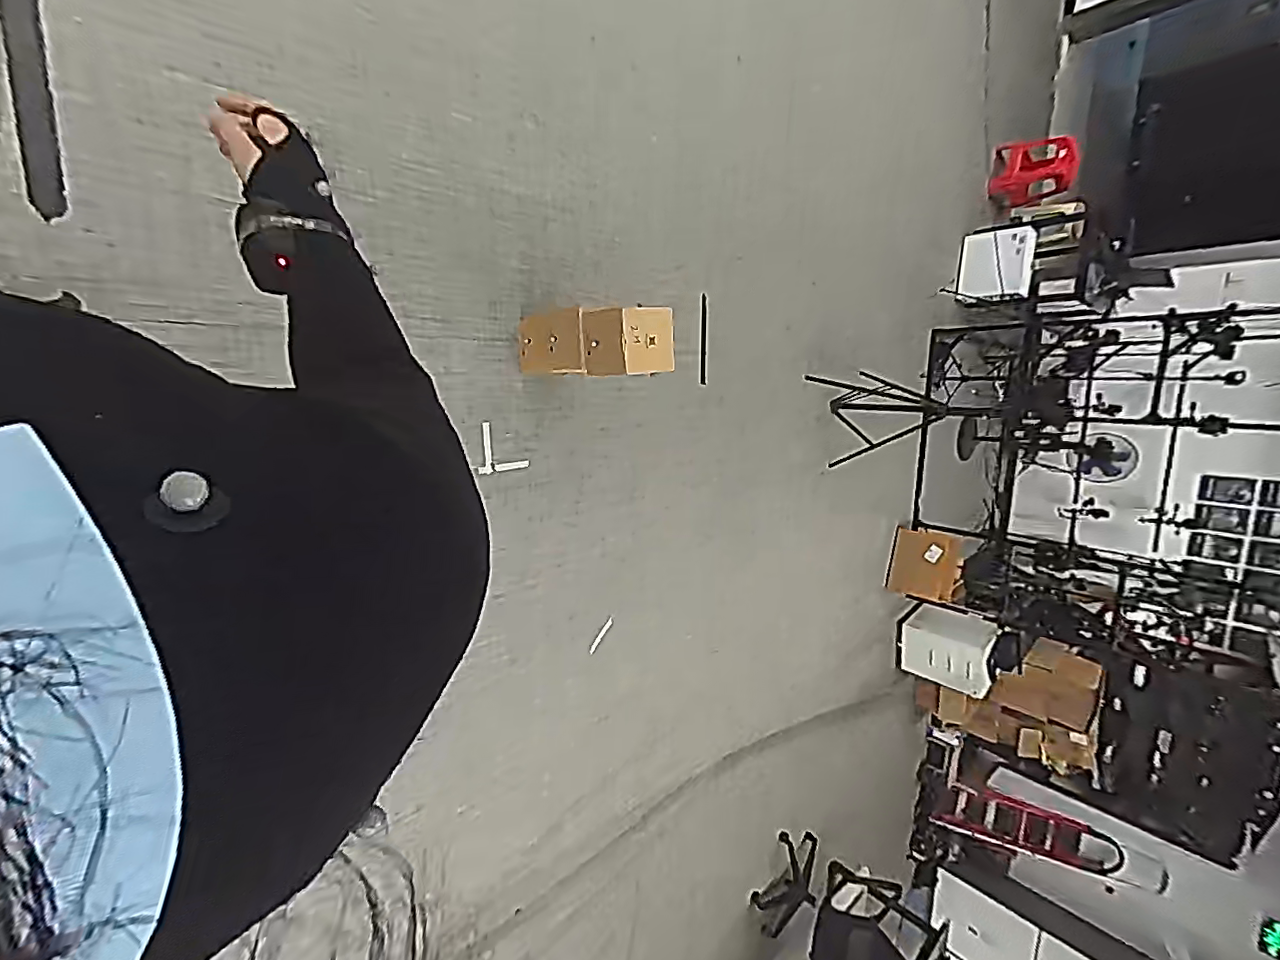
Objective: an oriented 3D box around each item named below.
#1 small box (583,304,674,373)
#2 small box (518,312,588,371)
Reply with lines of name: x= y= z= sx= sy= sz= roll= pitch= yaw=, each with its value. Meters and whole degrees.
small box: x=-0.031 y=-0.375 z=1.443 sx=0.179 sy=0.176 sz=0.168 roll=-15 pitch=107 yaw=-39
small box: x=-0.259 y=-0.424 z=1.675 sx=0.179 sy=0.176 sz=0.168 roll=-11 pitch=105 yaw=-41
